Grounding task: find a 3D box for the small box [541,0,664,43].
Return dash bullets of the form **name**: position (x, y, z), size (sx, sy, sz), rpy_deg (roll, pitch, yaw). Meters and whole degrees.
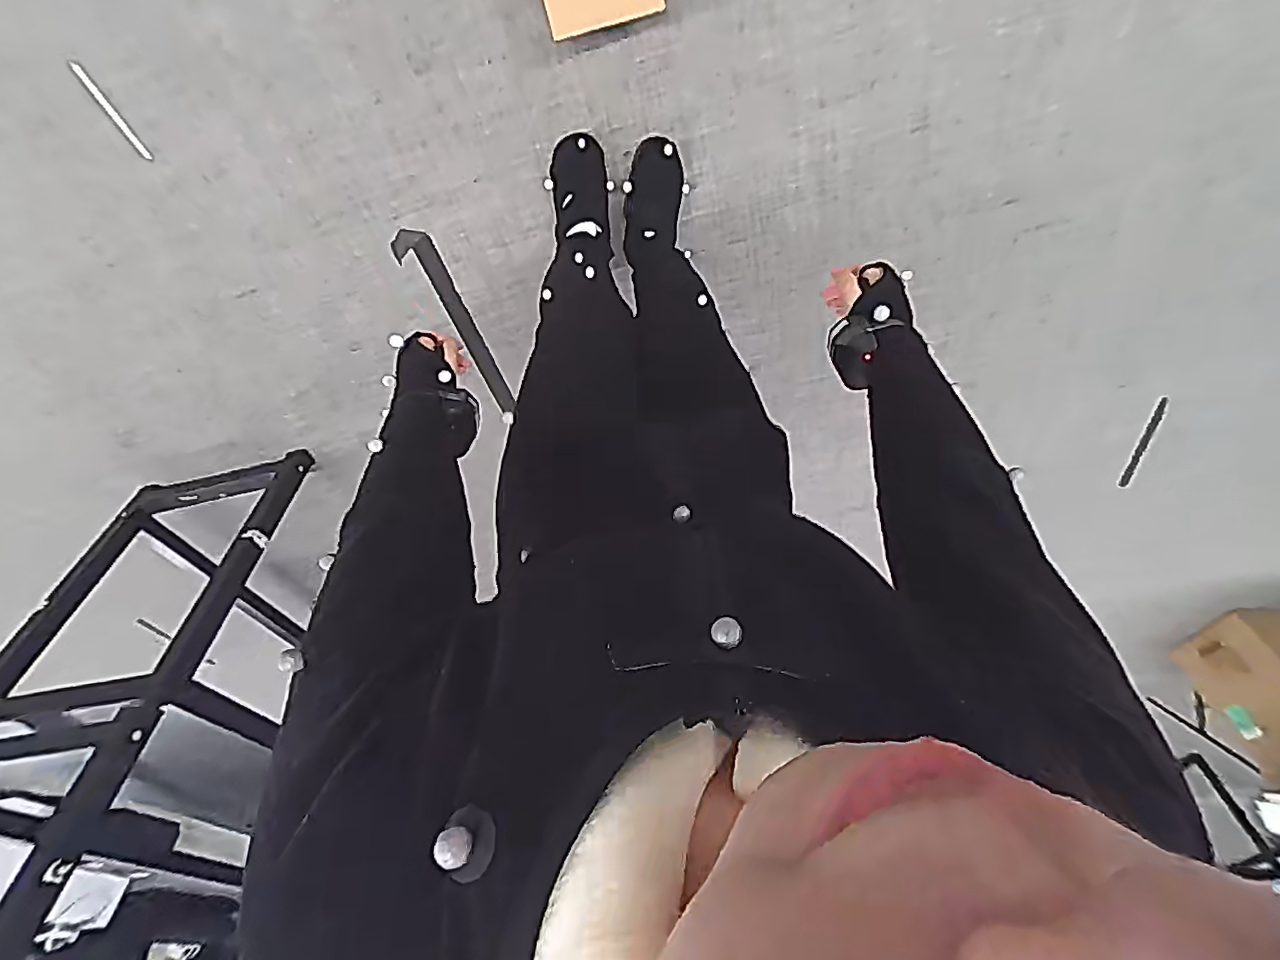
- **small box**: position (-0.069, -0.784, 0.804), size (0.179, 0.176, 0.168), rpy_deg (-10, 134, 7)
